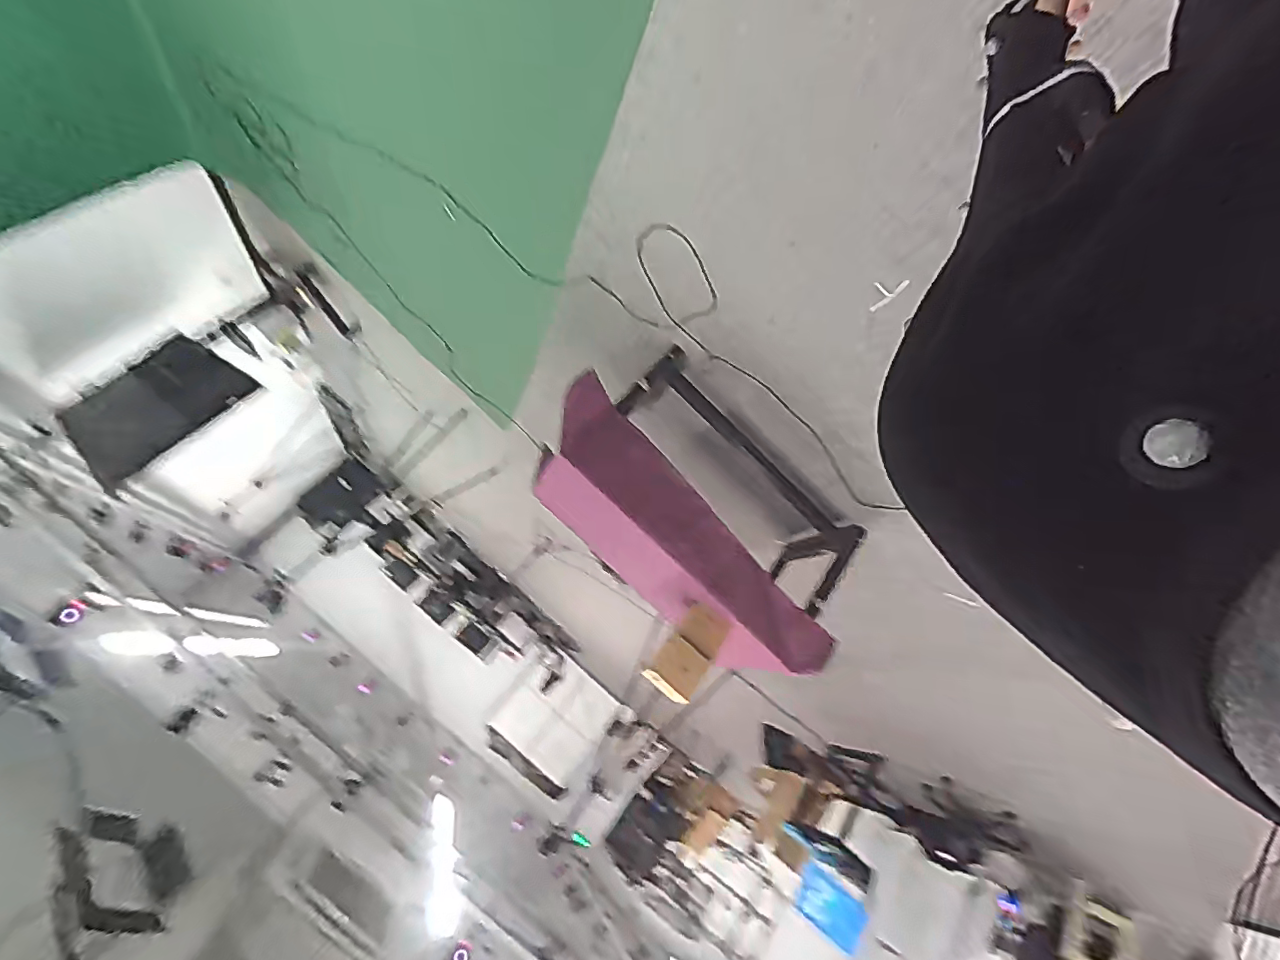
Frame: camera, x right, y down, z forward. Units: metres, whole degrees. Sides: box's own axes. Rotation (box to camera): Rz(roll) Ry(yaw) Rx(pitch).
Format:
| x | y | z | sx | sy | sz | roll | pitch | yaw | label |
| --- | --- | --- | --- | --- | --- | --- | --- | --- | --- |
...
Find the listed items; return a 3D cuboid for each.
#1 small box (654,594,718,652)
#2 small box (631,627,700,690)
| x | y | z | sx | sy | sz | roll | pitch | yaw | label |
| --- | --- | --- | --- | --- | --- | --- | --- | --- | --- |
| 0.186 | 0.574 | 2.159 | 0.168 | 0.176 | 0.179 | 42 | 155 | 2 | small box |
| 0.097 | 0.678 | 2.066 | 0.179 | 0.176 | 0.168 | 41 | 154 | 2 | small box |
